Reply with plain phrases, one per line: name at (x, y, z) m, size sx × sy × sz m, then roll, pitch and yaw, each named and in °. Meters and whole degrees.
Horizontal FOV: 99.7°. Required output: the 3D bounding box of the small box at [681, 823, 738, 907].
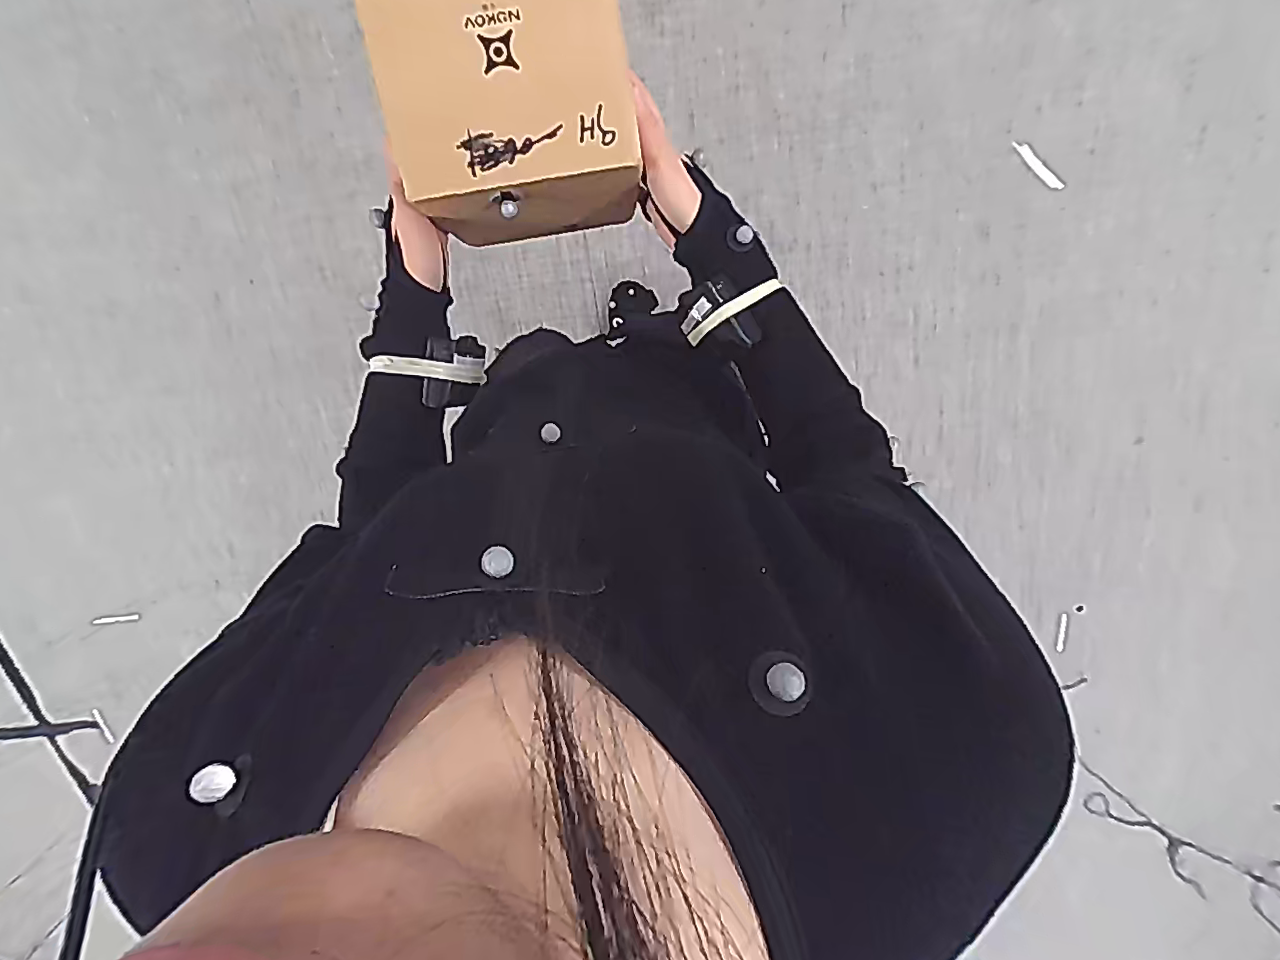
small box at (0.233, 1.299, 1.837) m, size 0.168 × 0.176 × 0.179 m, roll -6°, pitch 109°, yaw 1°

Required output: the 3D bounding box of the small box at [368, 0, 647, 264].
small box at (-0.093, -0.291, 0.436) m, size 0.168 × 0.176 × 0.179 m, roll -10°, pitch 102°, yaw -2°

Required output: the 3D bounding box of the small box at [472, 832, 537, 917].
small box at (-0.458, 1.341, 1.846) m, size 0.179 × 0.176 × 0.168 m, roll 9°, pitch 107°, yaw -5°
